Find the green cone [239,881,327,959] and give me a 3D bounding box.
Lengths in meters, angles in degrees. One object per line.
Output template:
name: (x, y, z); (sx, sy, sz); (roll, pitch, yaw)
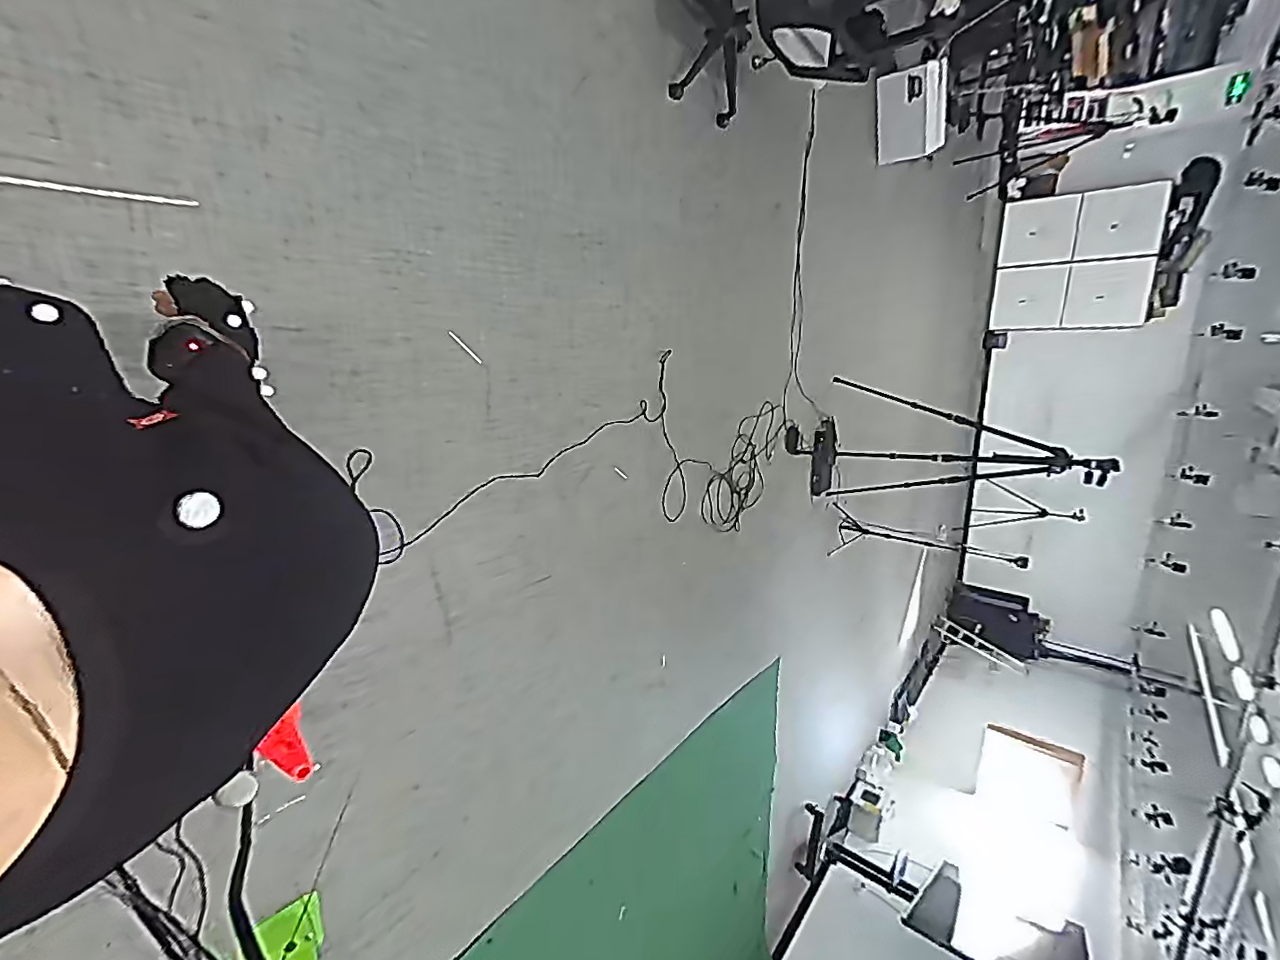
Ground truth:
green cone: (-0.873, 1.297, 1.420); (0.200, 0.368, 0.202); (-14, 108, -49)
